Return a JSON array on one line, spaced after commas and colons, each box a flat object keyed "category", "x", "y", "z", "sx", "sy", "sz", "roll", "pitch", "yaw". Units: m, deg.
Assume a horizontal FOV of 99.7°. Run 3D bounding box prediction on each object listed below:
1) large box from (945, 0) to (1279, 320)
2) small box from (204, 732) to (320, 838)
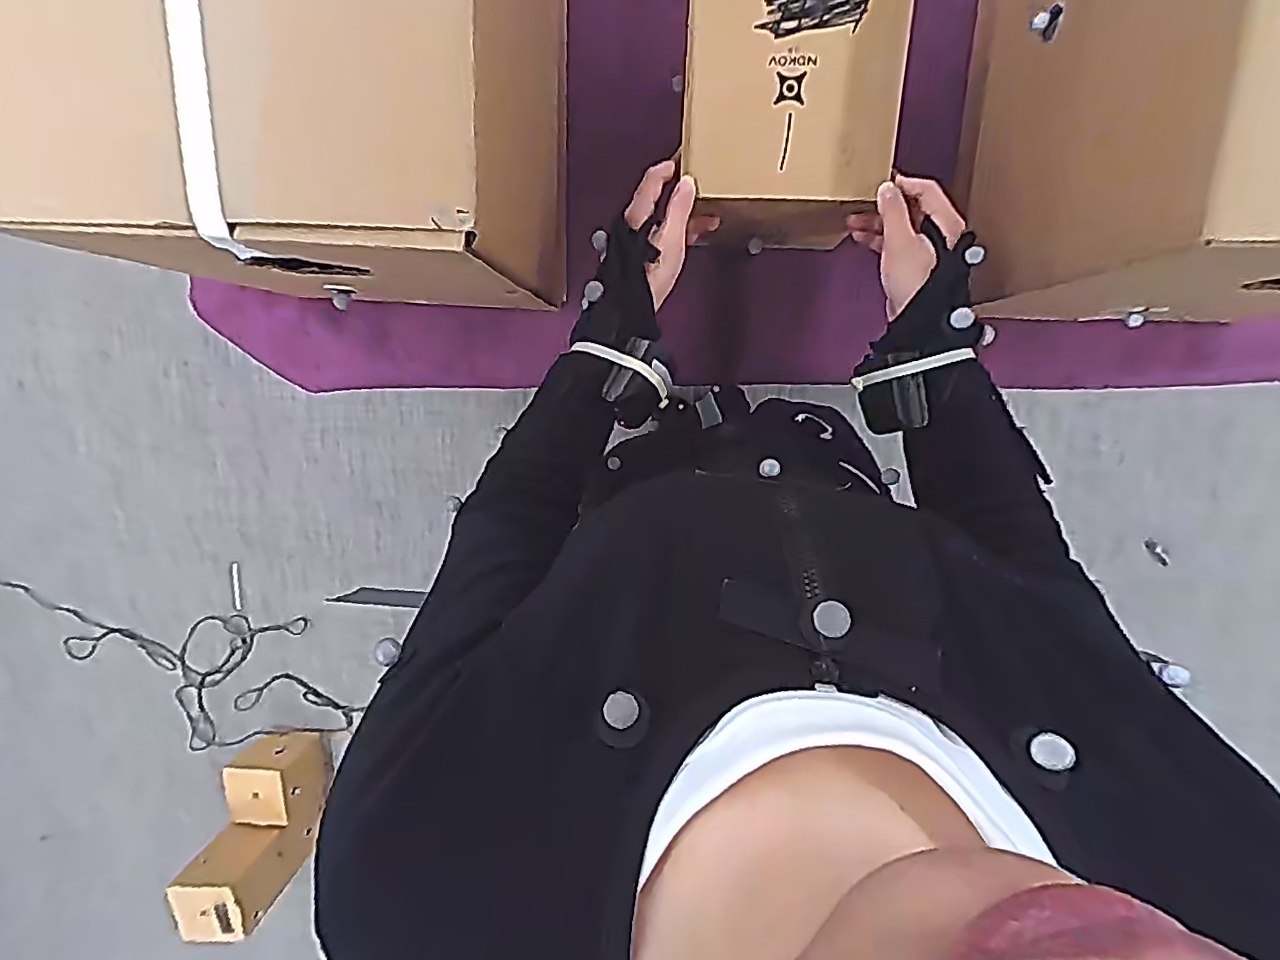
[{"category": "large box", "x": 0.464, "y": -0.341, "z": 0.393, "sx": 0.320, "sy": 0.320, "sz": 0.408, "roll": 2, "pitch": 100, "yaw": 4}, {"category": "small box", "x": -1.026, "y": 0.833, "z": 1.477, "sx": 0.179, "sy": 0.176, "sz": 0.168, "roll": 27, "pitch": 88, "yaw": -11}]
